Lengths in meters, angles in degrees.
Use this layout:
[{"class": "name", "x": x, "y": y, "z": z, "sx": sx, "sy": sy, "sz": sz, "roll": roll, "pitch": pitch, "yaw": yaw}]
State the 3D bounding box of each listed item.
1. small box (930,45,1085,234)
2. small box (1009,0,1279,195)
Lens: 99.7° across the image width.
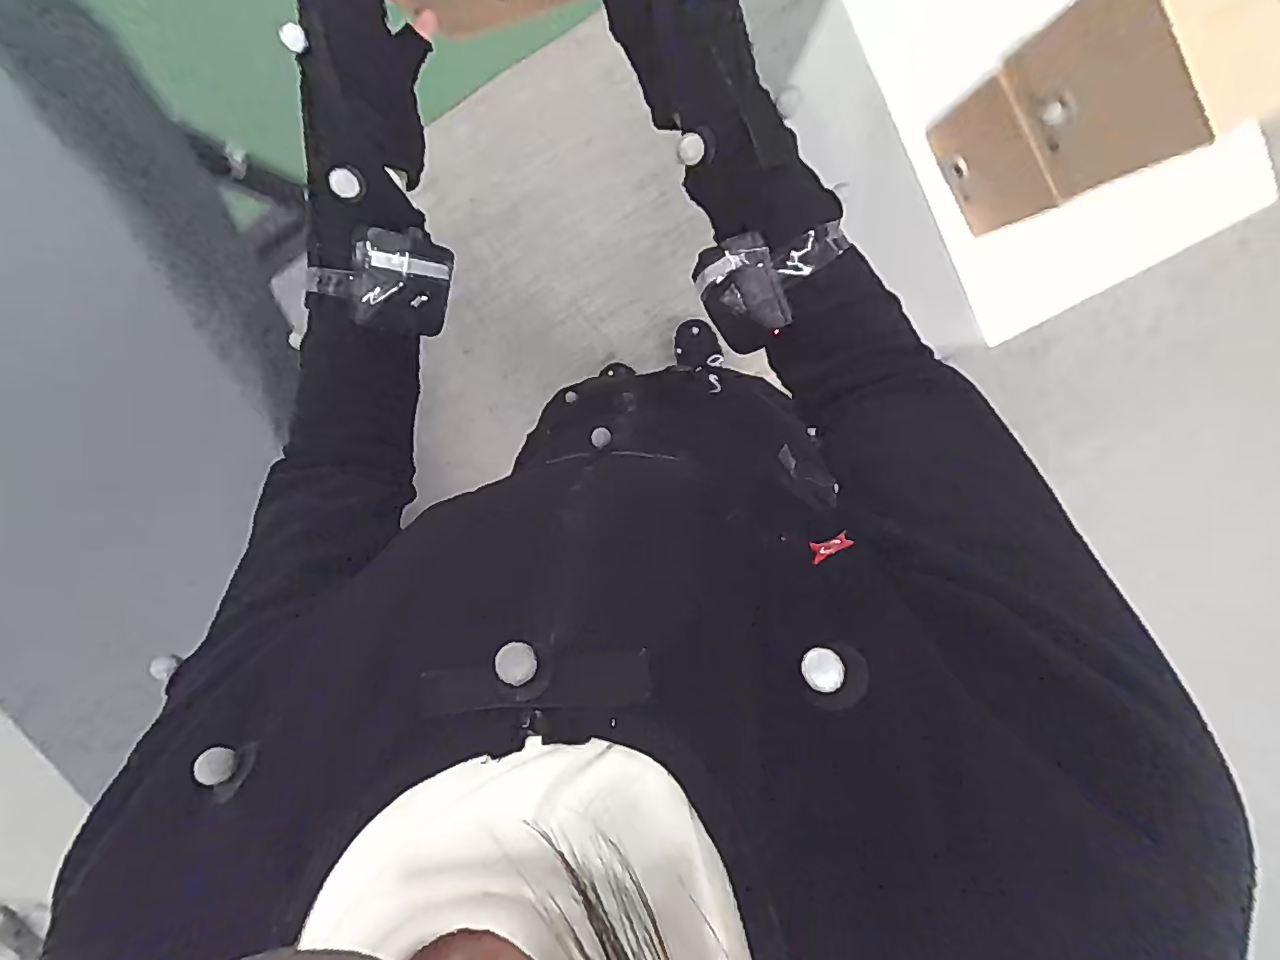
[{"class": "small box", "x": 0.478, "y": -0.415, "z": 0.617, "sx": 0.179, "sy": 0.176, "sz": 0.168, "roll": -33, "pitch": 98, "yaw": 11}, {"class": "small box", "x": 0.472, "y": -0.383, "z": 0.456, "sx": 0.179, "sy": 0.176, "sz": 0.168, "roll": -35, "pitch": 99, "yaw": 8}]
